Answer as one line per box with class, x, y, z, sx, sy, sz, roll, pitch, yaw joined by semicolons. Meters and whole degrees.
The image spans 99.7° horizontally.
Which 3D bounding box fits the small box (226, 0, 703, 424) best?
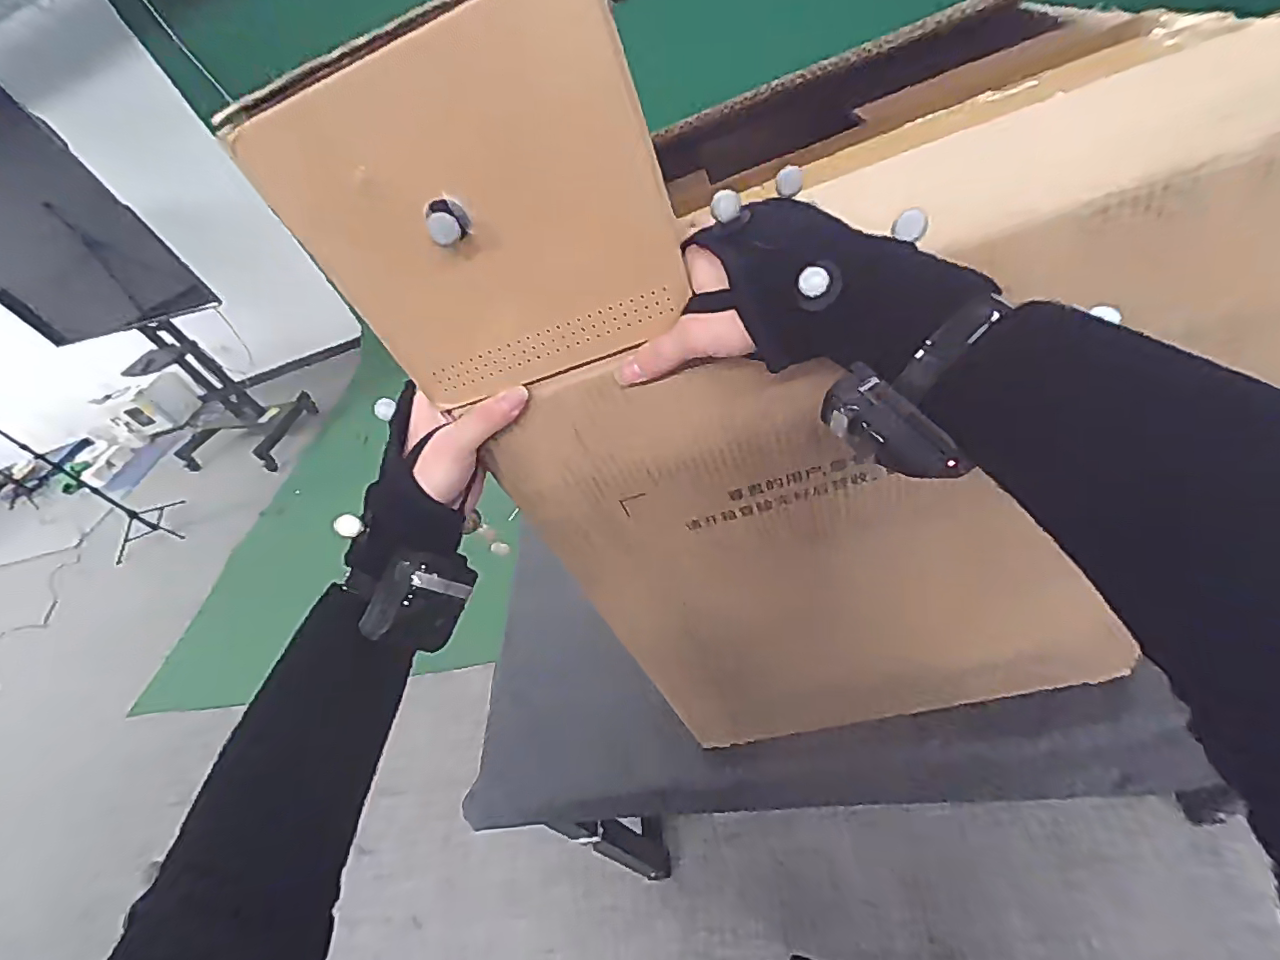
small box;-0.076;-0.159;0.326;0.179;0.176;0.168;-17;45;12
